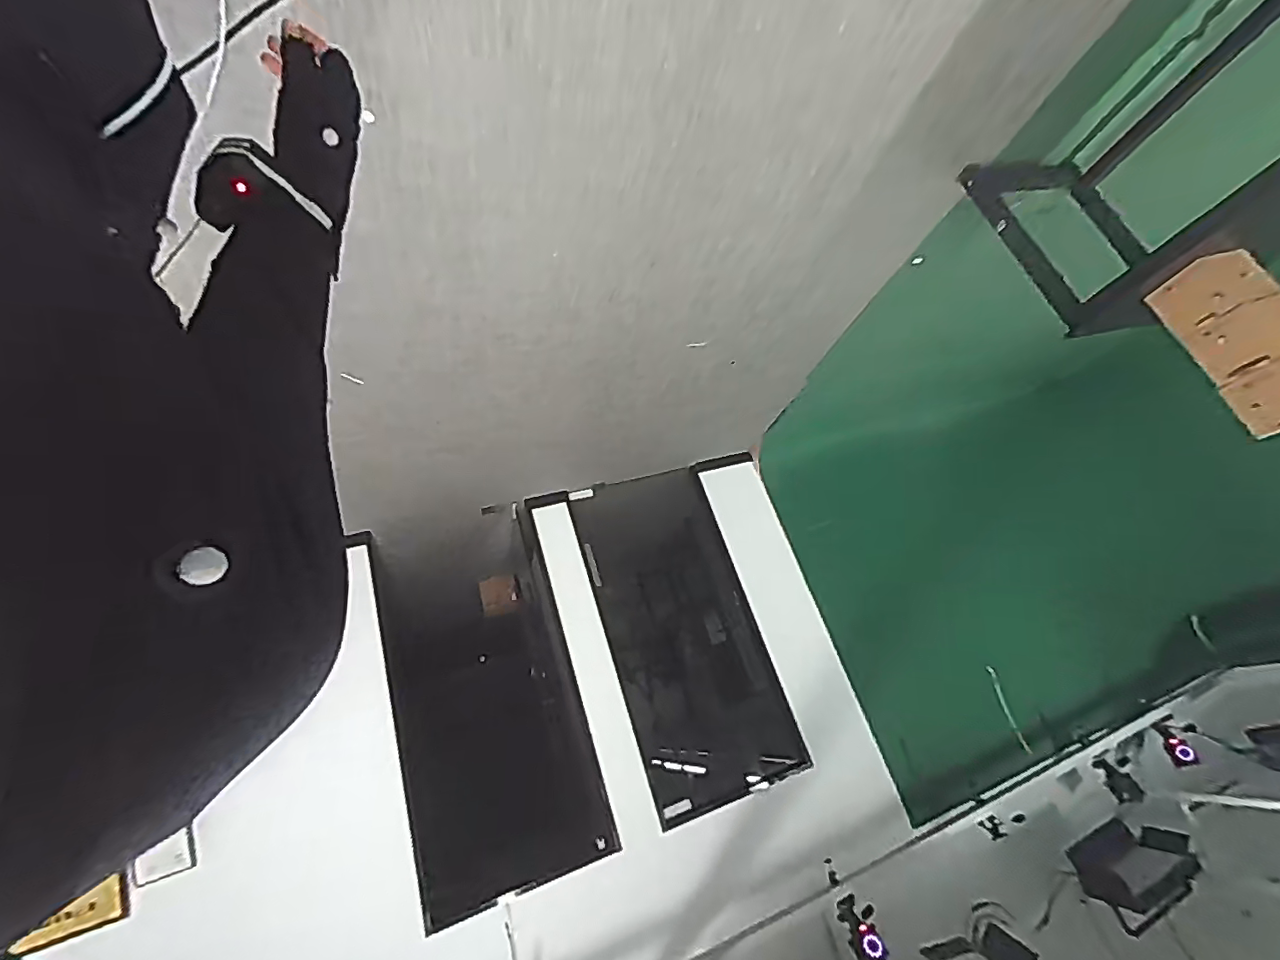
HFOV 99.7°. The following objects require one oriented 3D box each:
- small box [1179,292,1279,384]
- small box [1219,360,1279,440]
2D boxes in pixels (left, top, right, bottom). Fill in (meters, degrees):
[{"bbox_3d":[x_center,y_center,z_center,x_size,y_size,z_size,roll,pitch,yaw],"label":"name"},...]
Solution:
[{"bbox_3d":[1.676,-0.396,1.493,0.179,0.176,0.168,-15,160,-13],"label":"small box"},{"bbox_3d":[1.732,-0.233,1.440,0.179,0.176,0.168,-16,161,-13],"label":"small box"}]
